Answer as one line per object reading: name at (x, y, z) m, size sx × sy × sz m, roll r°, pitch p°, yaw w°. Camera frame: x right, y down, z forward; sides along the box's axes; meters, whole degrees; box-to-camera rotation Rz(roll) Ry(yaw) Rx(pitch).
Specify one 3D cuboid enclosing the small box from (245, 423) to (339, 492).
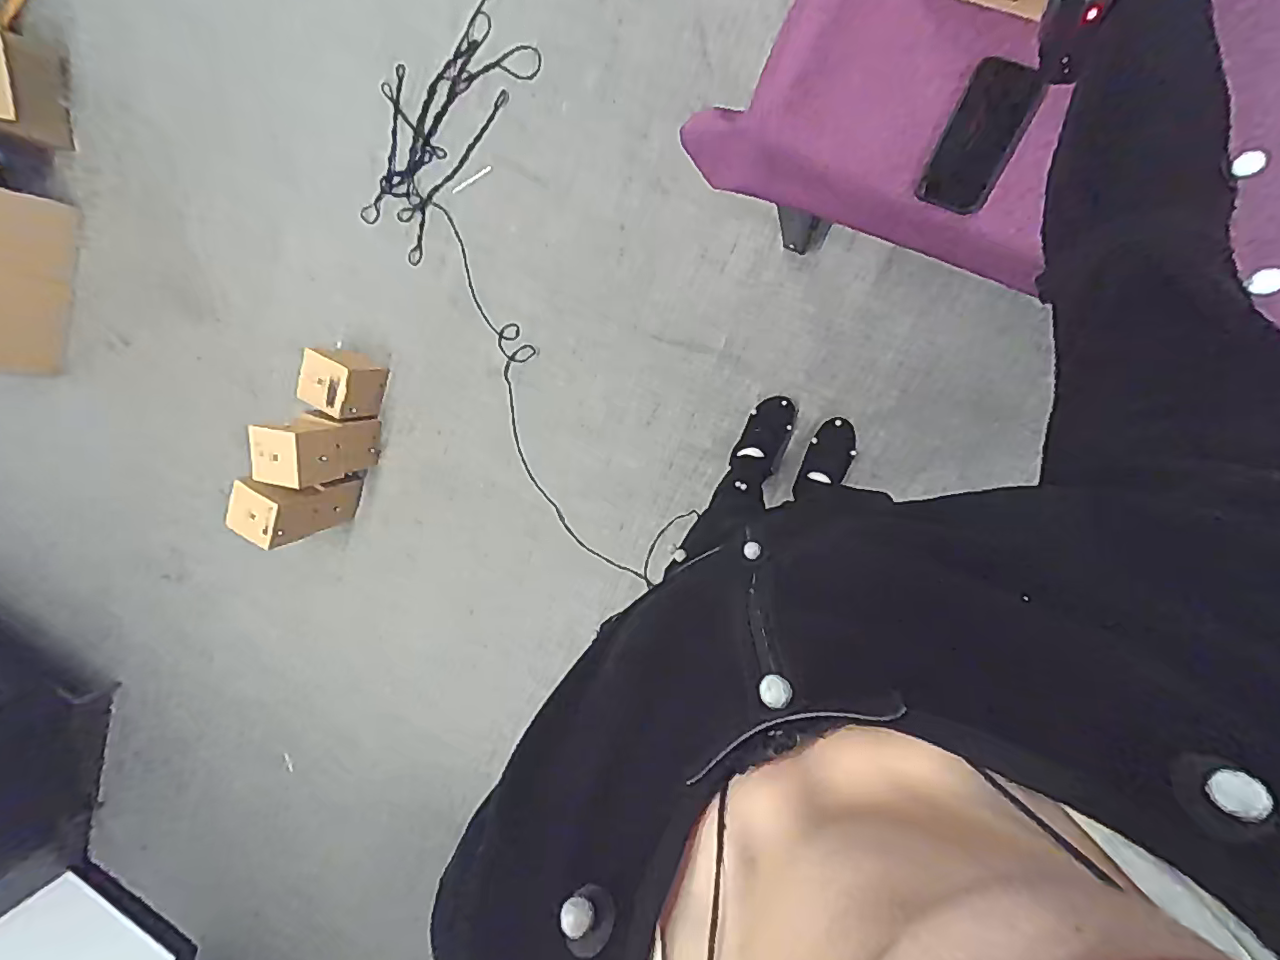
small box at (-1.027, -0.073, 1.611) m, size 0.179 × 0.176 × 0.168 m, roll 10°, pitch 104°, yaw 16°

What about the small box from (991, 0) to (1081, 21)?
small box at (0.386, -0.575, 0.490) m, size 0.168 × 0.176 × 0.179 m, roll 26°, pitch 106°, yaw 11°

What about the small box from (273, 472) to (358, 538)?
small box at (-1.091, 0.064, 1.830) m, size 0.168 × 0.176 × 0.179 m, roll 27°, pitch 108°, yaw 11°
